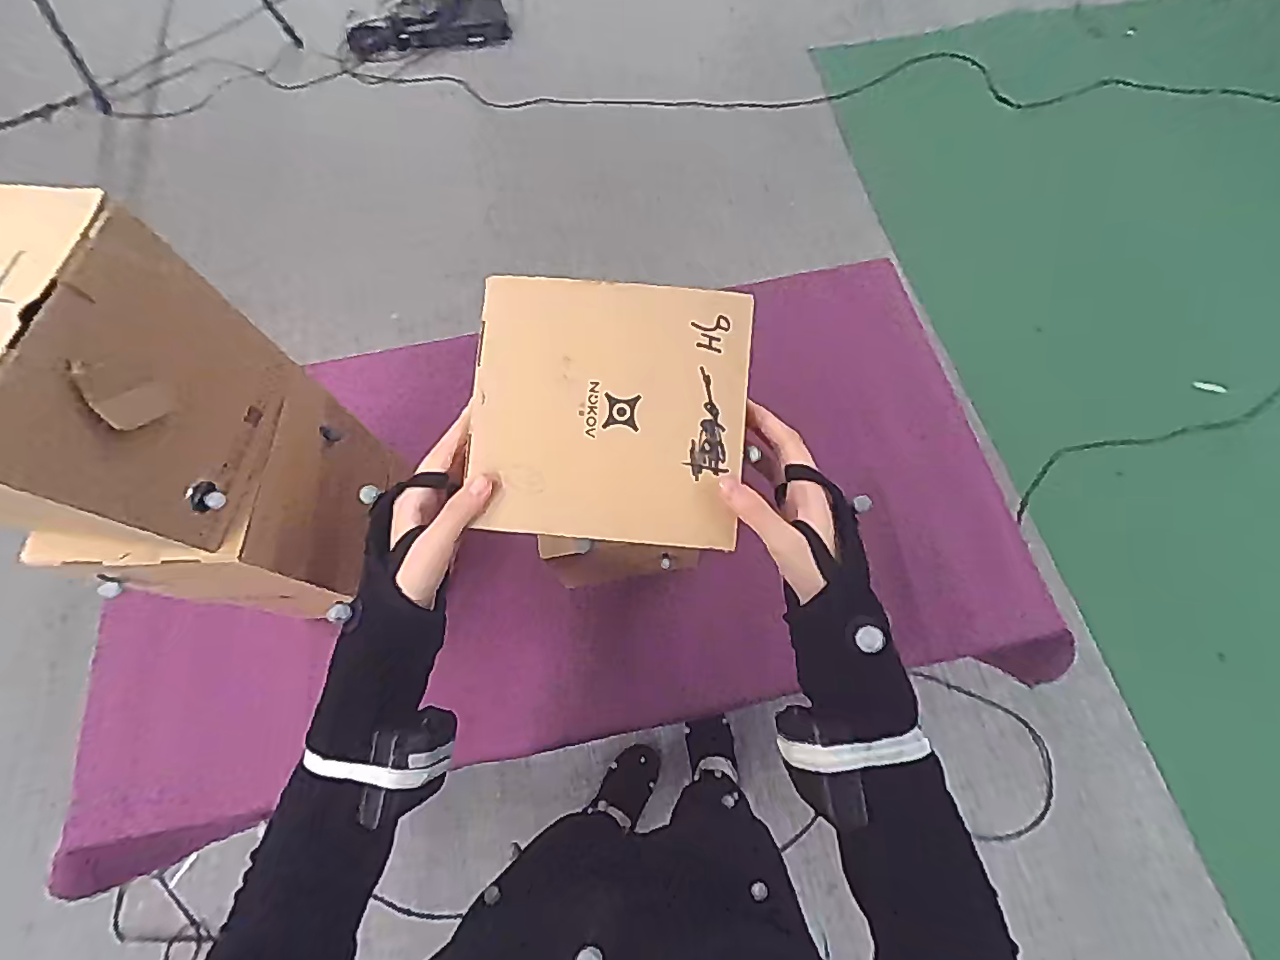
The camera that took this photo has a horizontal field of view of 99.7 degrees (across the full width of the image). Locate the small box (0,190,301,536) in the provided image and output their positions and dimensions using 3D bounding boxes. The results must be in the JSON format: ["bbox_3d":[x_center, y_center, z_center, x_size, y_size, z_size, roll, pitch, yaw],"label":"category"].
[{"bbox_3d":[-0.381,-0.067,0.370,0.179,0.176,0.168,5,67,5],"label":"small box"}]

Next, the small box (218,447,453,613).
[{"bbox_3d":[-0.355,0.069,0.669,0.179,0.176,0.168,-1,68,1],"label":"small box"}]

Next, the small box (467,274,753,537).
[{"bbox_3d":[-0.015,-0.045,0.435,0.179,0.176,0.168,6,86,3],"label":"small box"}]

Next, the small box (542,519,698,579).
[{"bbox_3d":[-0.026,0.017,0.678,0.179,0.176,0.168,-10,67,-2],"label":"small box"}]
